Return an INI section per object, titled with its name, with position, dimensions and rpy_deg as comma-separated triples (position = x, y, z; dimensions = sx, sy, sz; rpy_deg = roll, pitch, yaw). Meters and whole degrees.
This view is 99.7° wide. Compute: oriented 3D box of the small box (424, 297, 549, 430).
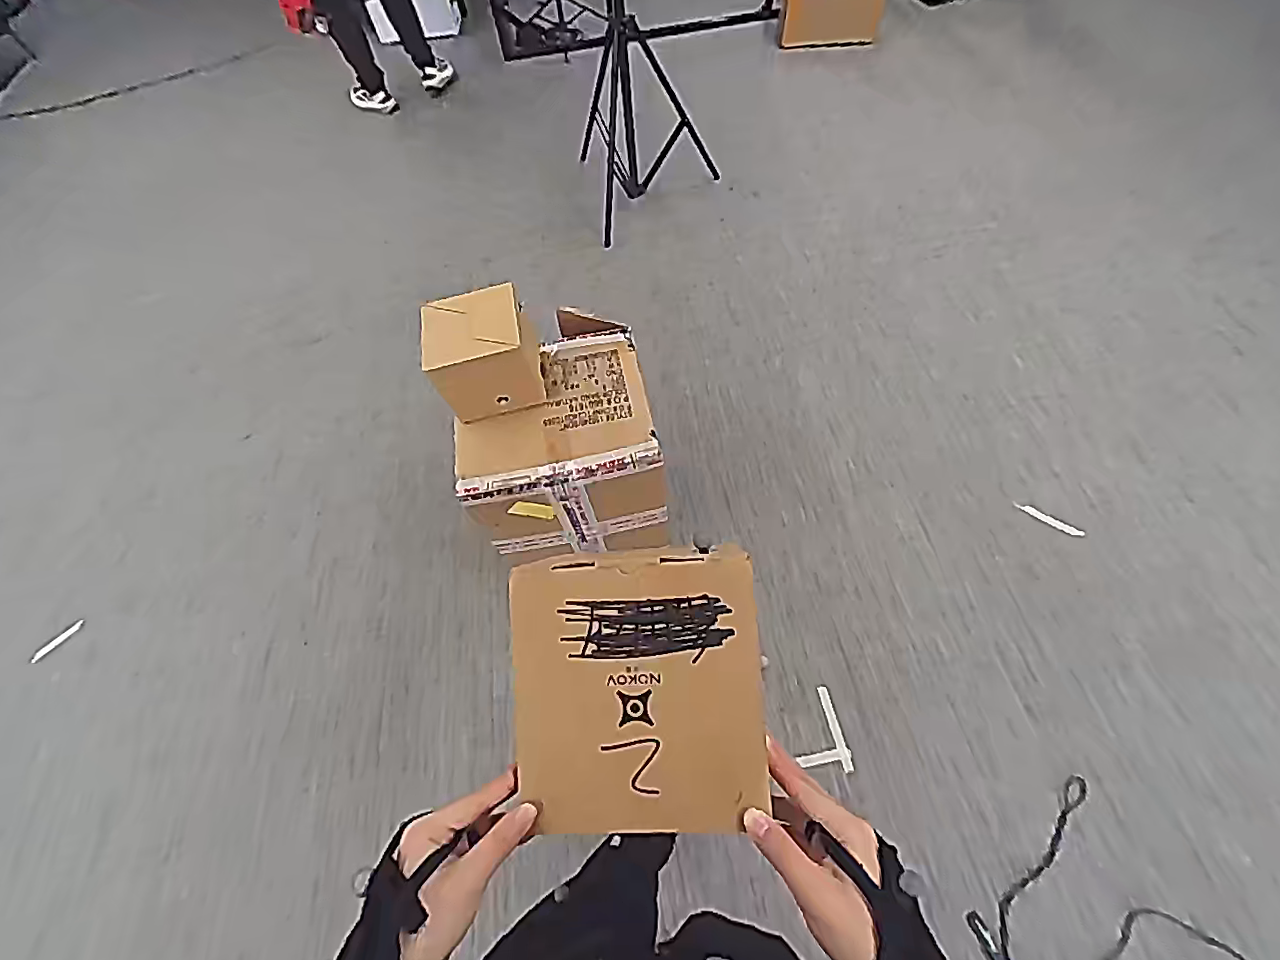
[small box]
position = -0.291, -0.225, 1.040
dimensions = 0.179, 0.176, 0.168
rpy_deg = -14, 61, 0
